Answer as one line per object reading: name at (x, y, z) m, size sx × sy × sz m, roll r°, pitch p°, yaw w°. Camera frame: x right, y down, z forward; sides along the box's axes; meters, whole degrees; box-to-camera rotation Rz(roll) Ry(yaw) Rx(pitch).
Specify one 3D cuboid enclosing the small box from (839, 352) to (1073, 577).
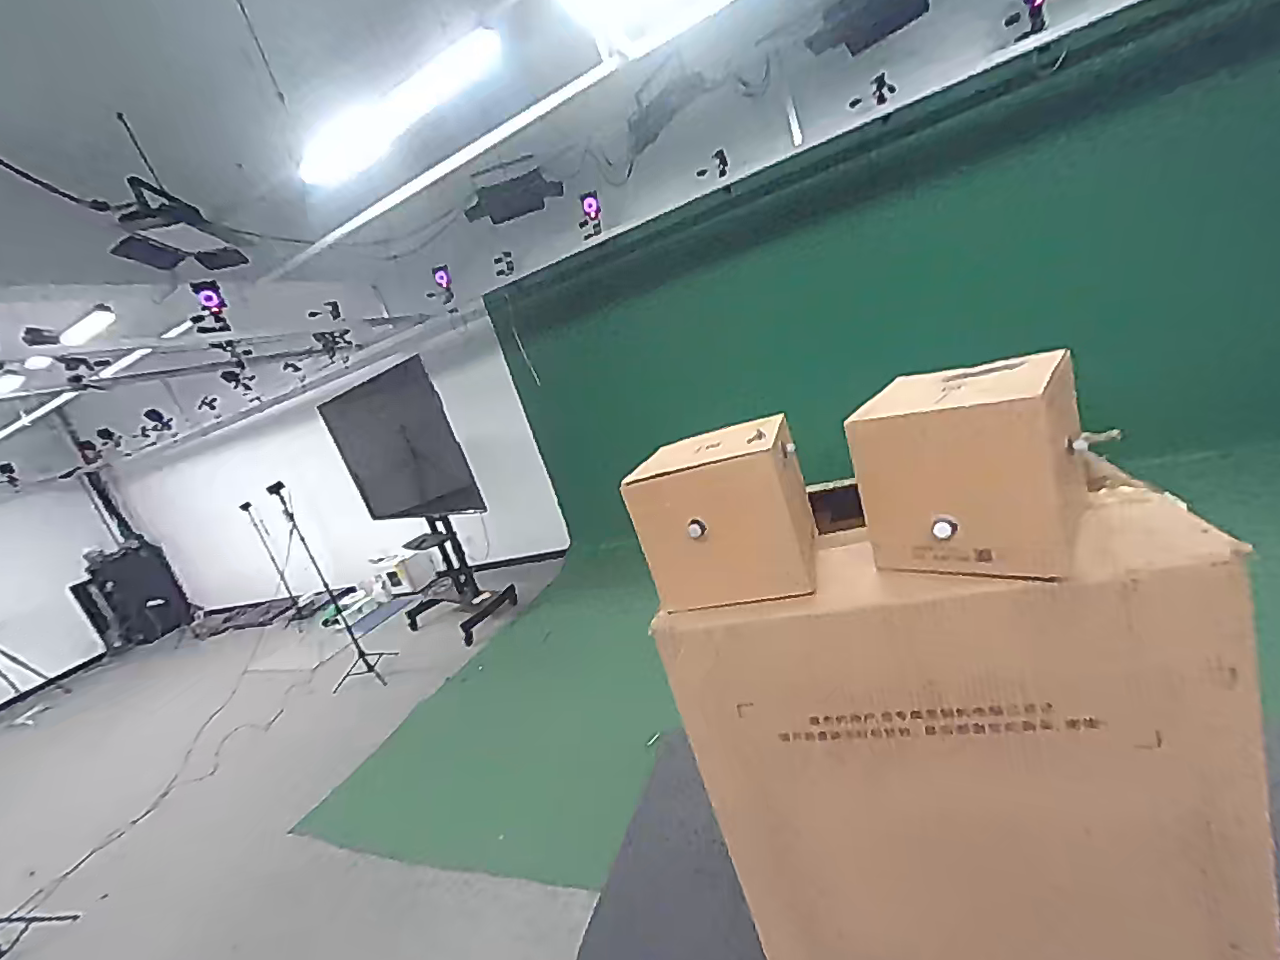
small box at (0.335, -0.019, 0.566) m, size 0.168 × 0.176 × 0.179 m, roll -5°, pitch 19°, yaw 45°

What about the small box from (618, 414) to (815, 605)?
small box at (0.103, 0.037, 0.669) m, size 0.179 × 0.176 × 0.168 m, roll -15°, pitch 14°, yaw 24°
